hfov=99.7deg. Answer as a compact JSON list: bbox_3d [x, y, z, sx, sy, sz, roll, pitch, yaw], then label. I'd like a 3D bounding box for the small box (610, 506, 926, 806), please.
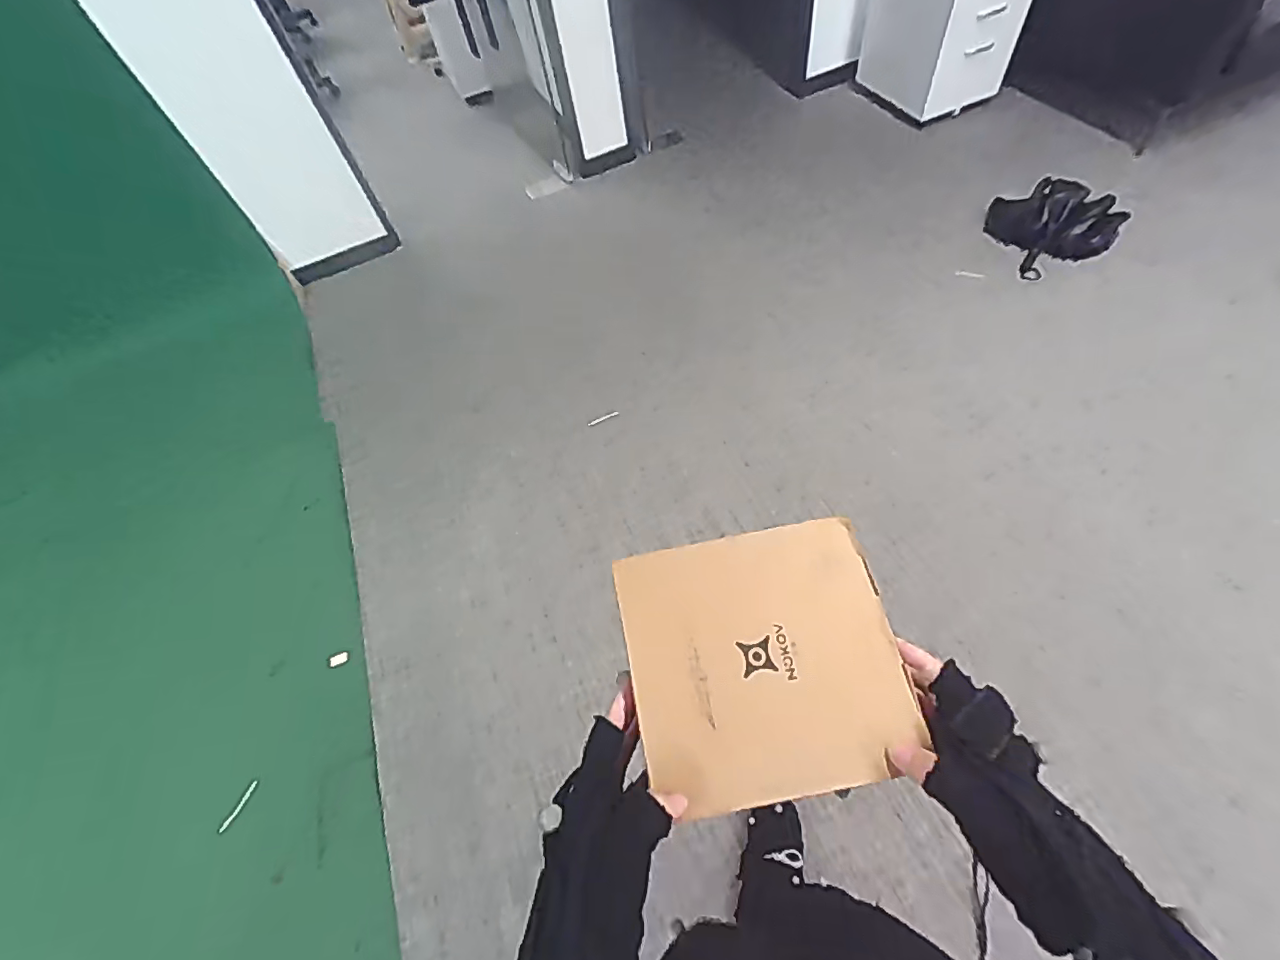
[{"bbox_3d":[0.082,0.139,0.433,0.179,0.176,0.168,-13,66,-1],"label":"small box"}]
